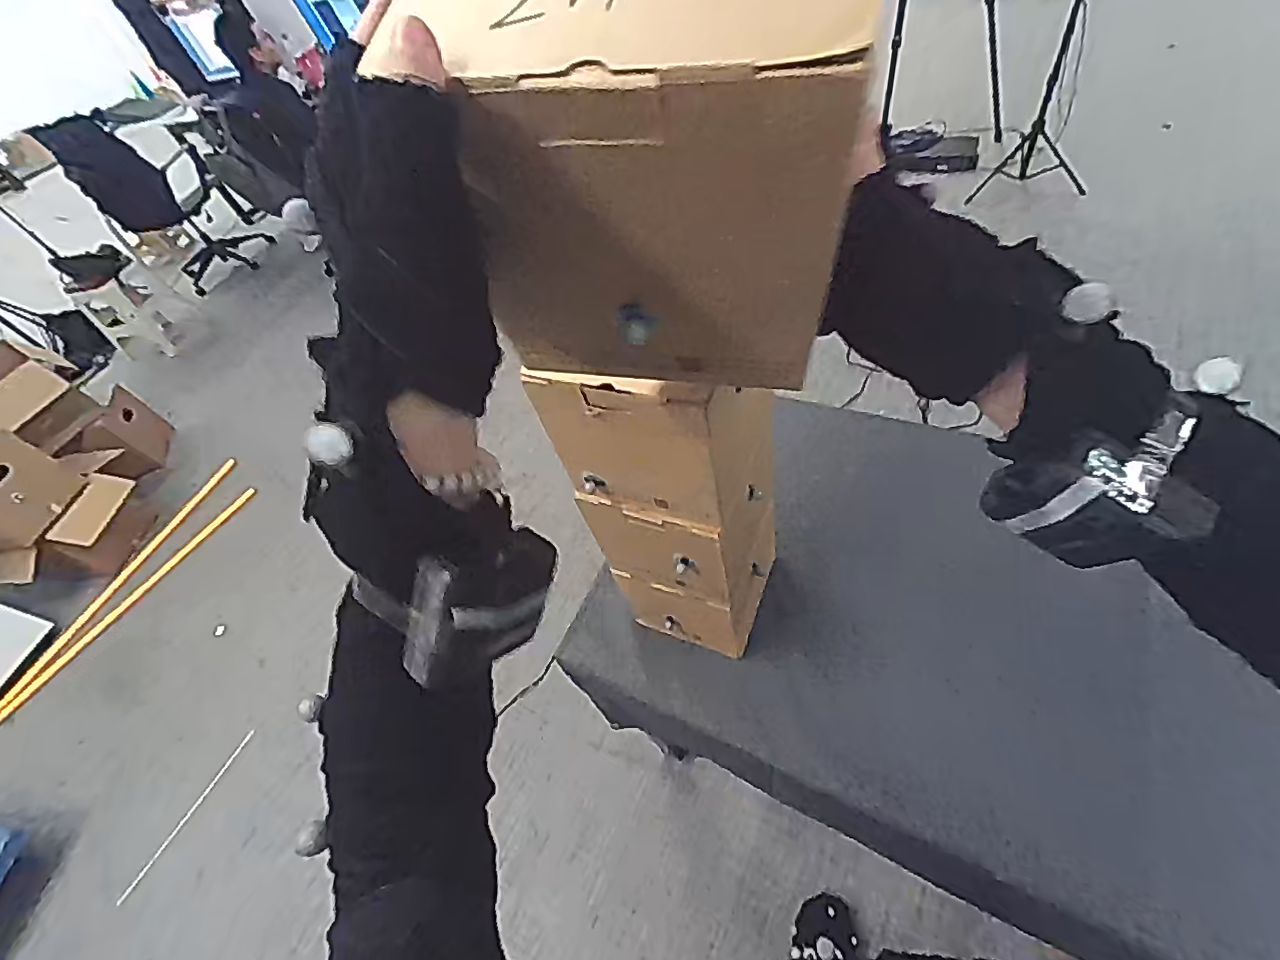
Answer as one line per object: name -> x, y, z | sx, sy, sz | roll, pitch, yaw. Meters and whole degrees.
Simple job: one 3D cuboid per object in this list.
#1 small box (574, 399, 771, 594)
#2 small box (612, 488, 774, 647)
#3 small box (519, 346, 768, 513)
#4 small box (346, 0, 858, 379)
small box -> 0.052, 0.009, 0.636 | 0.168, 0.176, 0.179 | 15, 59, 23
small box -> 0.083, 0.105, 0.764 | 0.168, 0.176, 0.179 | 14, 59, 24
small box -> 0.021, -0.093, 0.511 | 0.168, 0.176, 0.179 | 14, 58, 22
small box -> 0.008, -0.175, 0.266 | 0.168, 0.176, 0.179 | 8, 69, 13
